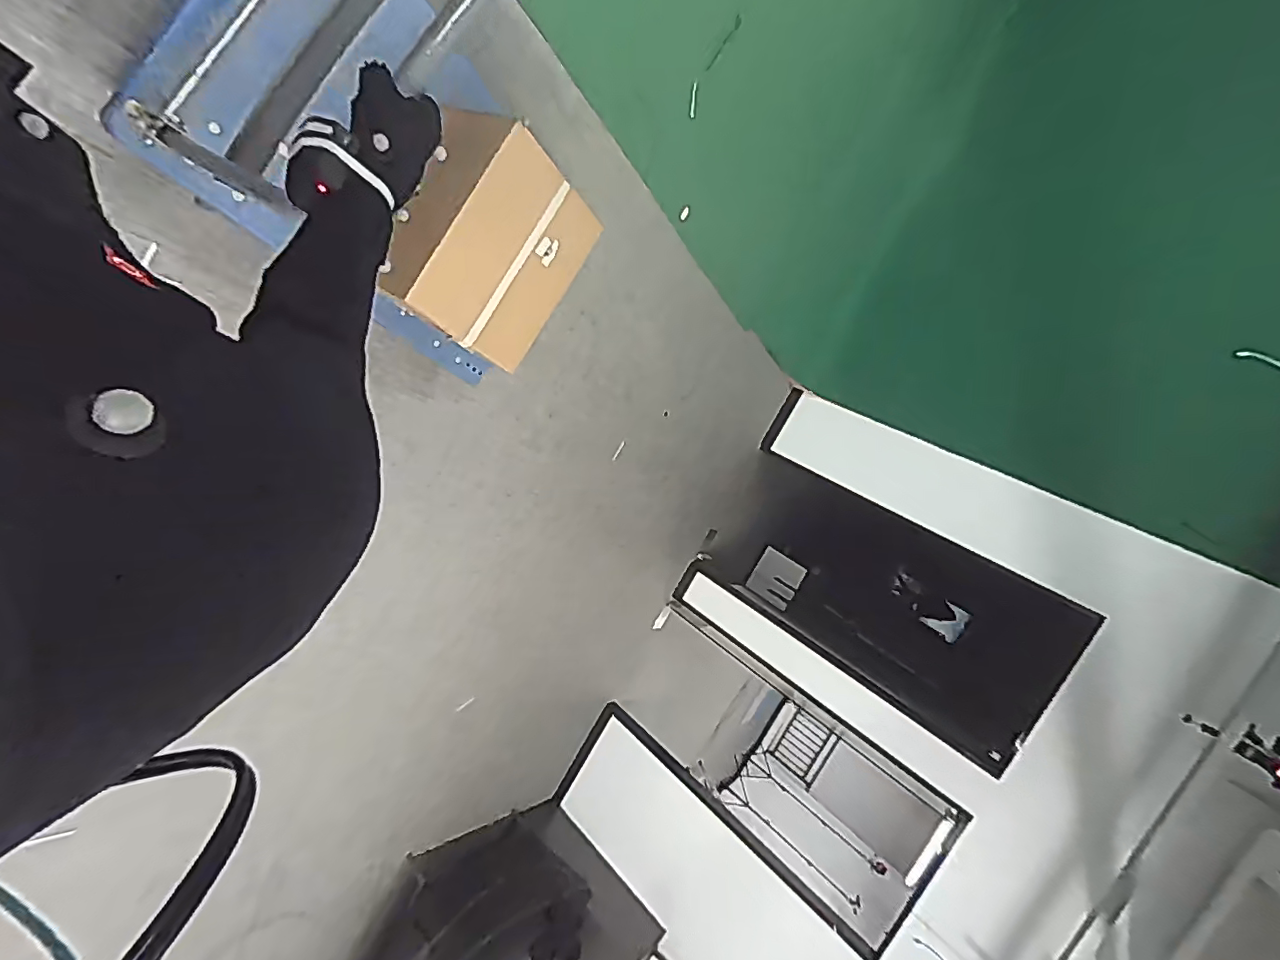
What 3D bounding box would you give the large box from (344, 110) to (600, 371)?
[{"bbox_3d":[-0.369,-0.524,1.207,0.408,0.320,0.320,-59,148,0],"label":"large box"}]
